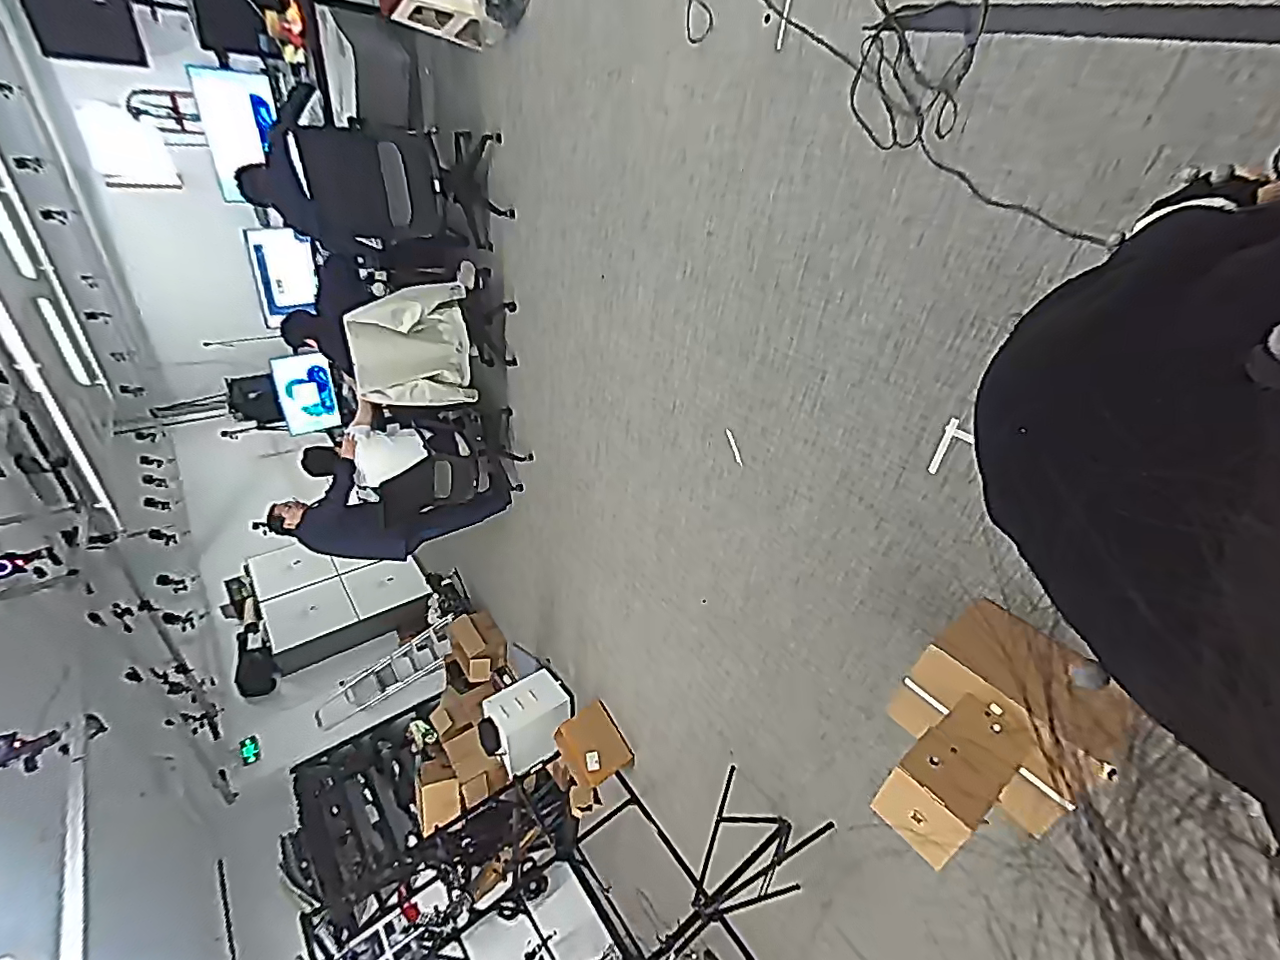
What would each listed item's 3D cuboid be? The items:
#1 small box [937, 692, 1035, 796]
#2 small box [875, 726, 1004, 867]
[{"bbox_3d":[0.784,0.643,1.275,0.168,0.176,0.179,38,134,38],"label":"small box"},{"bbox_3d":[0.656,0.681,1.183,0.168,0.176,0.179,38,135,40],"label":"small box"}]
